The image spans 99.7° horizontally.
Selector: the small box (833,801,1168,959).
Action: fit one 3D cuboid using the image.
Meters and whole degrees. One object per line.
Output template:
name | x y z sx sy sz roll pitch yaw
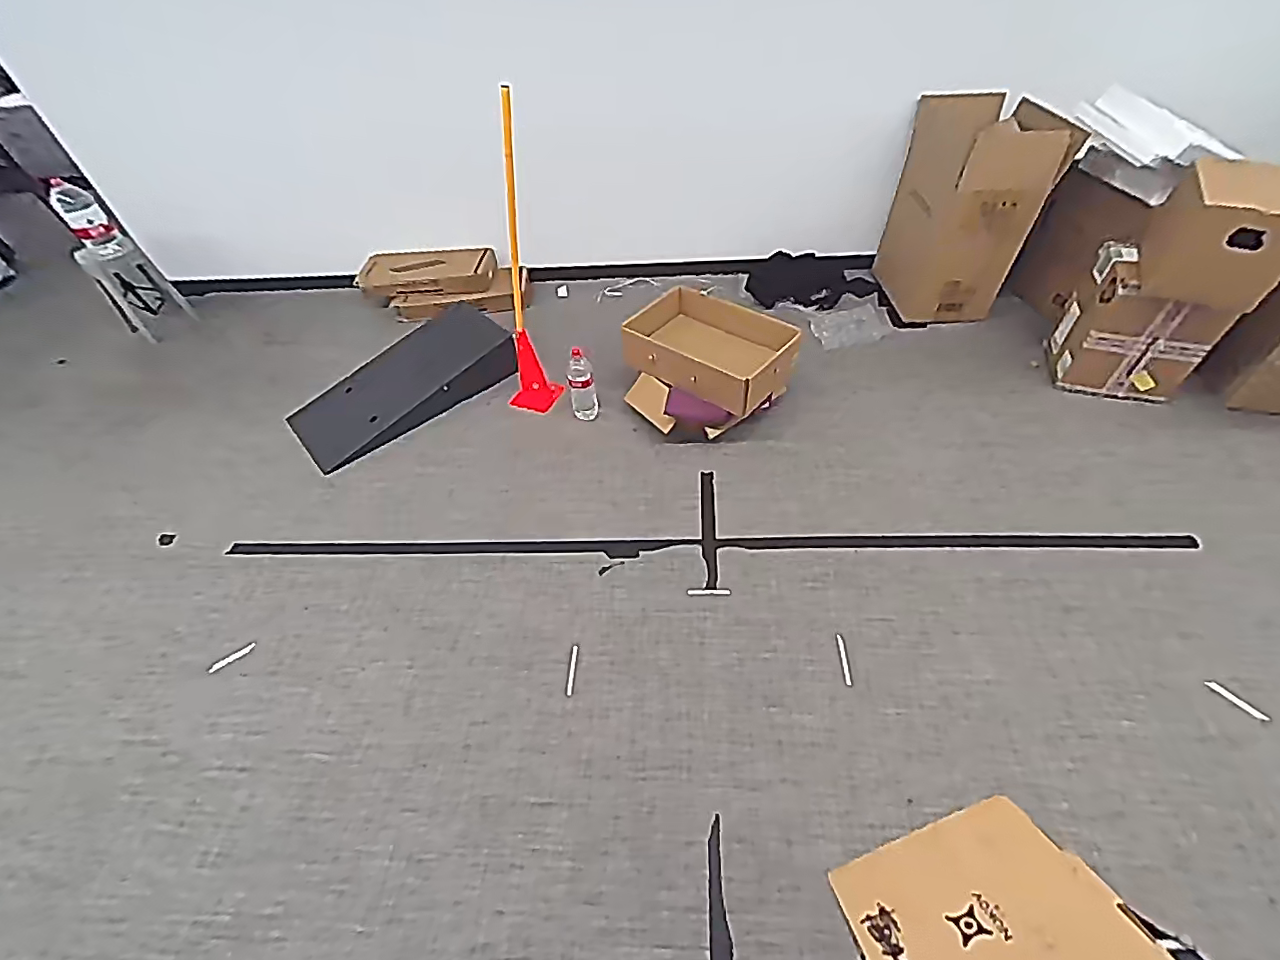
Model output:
small box | 0.284 0.403 0.415 0.179 0.176 0.168 -23 9 0
